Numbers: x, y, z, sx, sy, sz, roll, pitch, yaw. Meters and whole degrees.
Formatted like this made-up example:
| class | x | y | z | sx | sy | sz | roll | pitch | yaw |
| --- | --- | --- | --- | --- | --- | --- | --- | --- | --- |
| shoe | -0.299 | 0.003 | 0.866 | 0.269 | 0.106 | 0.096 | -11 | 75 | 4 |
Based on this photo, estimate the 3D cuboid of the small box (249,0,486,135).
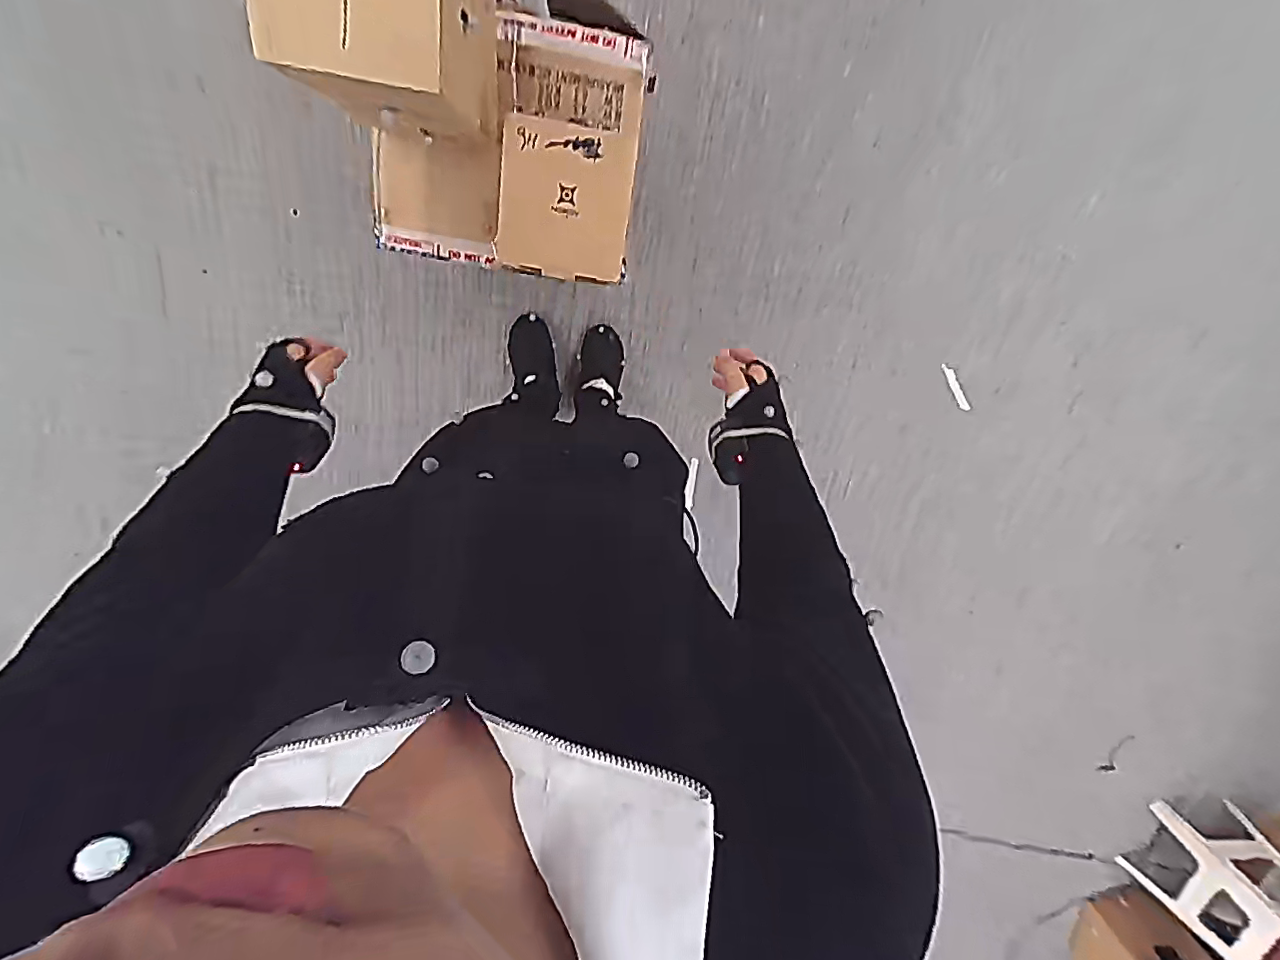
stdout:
| class | x | y | z | sx | sy | sz | roll | pitch | yaw |
| --- | --- | --- | --- | --- | --- | --- | --- | --- | --- |
| small box | -0.254 | -0.470 | 0.534 | 0.168 | 0.176 | 0.179 | 7 | 113 | -6 |

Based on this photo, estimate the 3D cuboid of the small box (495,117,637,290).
| class | x | y | z | sx | sy | sz | roll | pitch | yaw |
| --- | --- | --- | --- | --- | --- | --- | --- | --- | --- |
| small box | -0.103 | -0.379 | 0.763 | 0.168 | 0.176 | 0.179 | 6 | 113 | -8 |

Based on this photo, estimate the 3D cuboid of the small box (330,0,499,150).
| class | x | y | z | sx | sy | sz | roll | pitch | yaw |
| --- | --- | --- | --- | --- | --- | --- | --- | --- | --- |
| small box | -0.278 | -0.539 | 0.682 | 0.168 | 0.176 | 0.179 | 4 | 113 | -4 |
